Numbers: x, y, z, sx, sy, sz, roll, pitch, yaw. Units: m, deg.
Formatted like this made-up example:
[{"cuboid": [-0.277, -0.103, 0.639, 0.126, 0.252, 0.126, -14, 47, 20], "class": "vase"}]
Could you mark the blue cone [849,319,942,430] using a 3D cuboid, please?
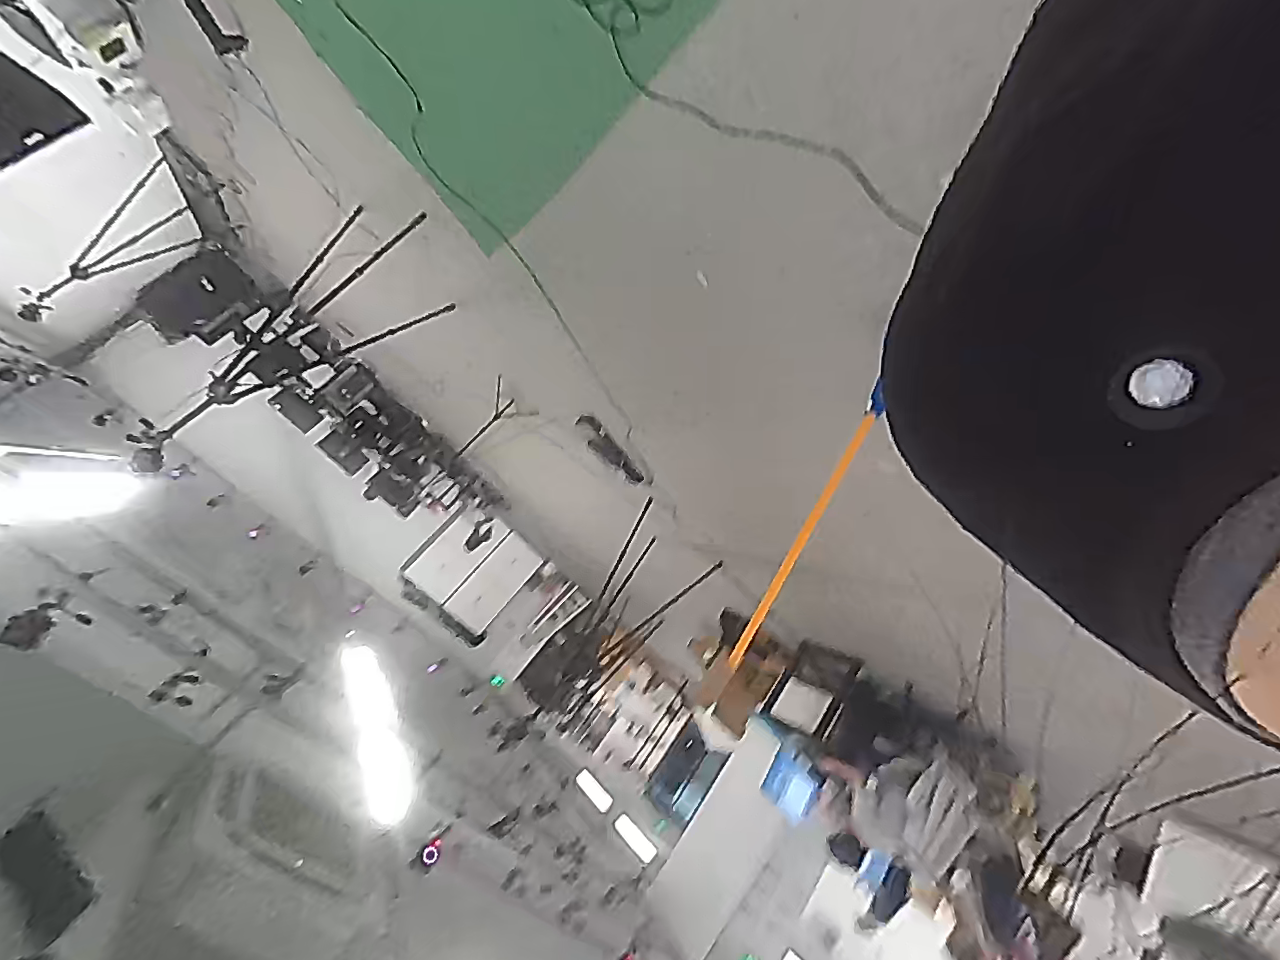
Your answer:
[{"cuboid": [0.755, -0.297, 1.671, 0.192, 0.380, 0.193, 31, 159, 19], "class": "blue cone"}]
